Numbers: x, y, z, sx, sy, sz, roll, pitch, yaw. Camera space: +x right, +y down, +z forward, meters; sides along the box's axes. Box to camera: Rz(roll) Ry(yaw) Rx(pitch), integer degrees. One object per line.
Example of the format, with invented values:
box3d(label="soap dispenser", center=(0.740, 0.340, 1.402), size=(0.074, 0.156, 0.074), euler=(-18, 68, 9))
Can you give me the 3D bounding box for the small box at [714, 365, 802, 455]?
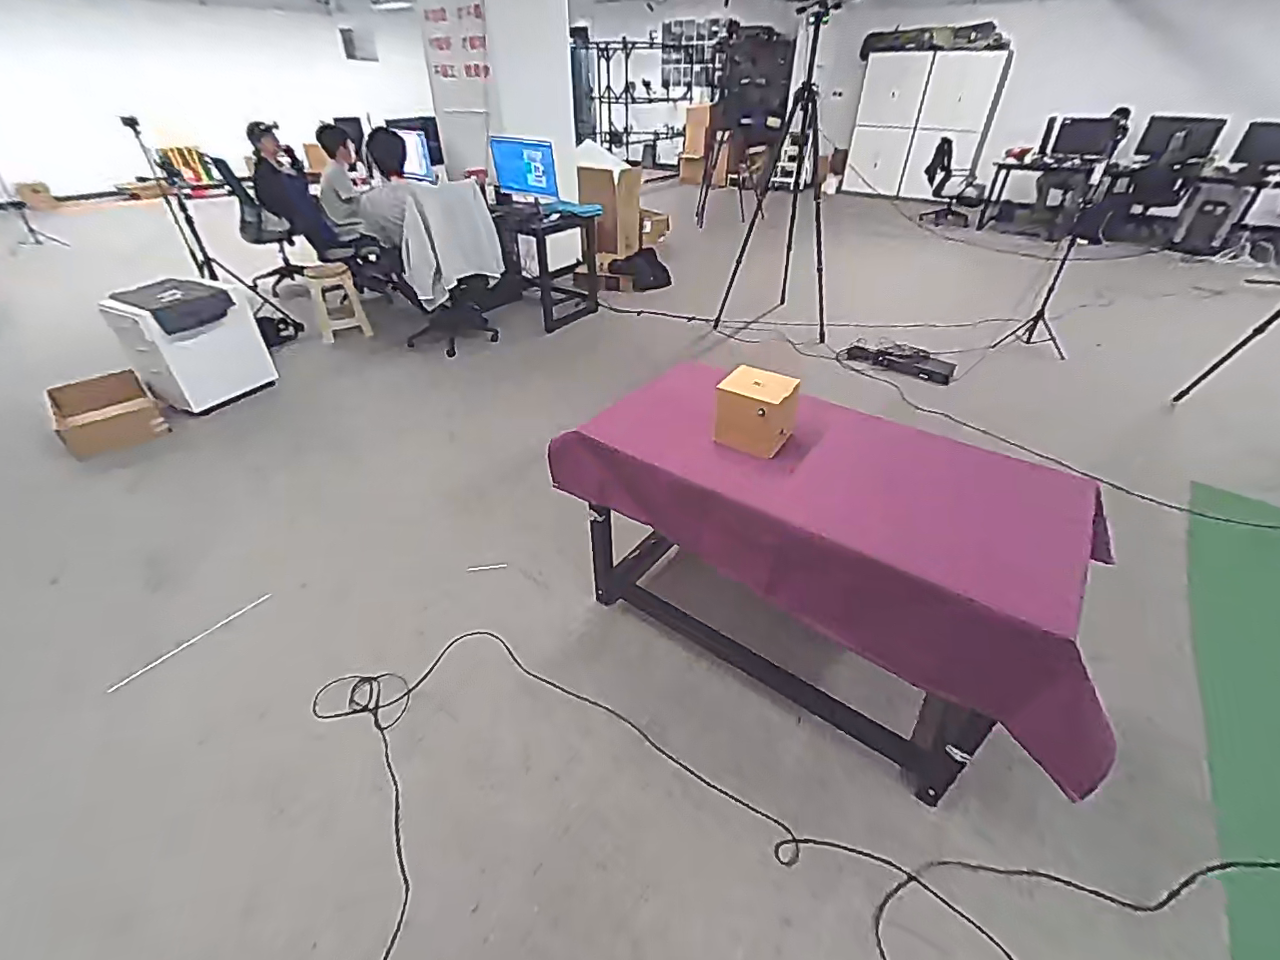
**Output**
box3d(label="small box", center=(0.315, -0.189, 1.470), size=(0.179, 0.176, 0.168), euler=(22, 42, 25))
